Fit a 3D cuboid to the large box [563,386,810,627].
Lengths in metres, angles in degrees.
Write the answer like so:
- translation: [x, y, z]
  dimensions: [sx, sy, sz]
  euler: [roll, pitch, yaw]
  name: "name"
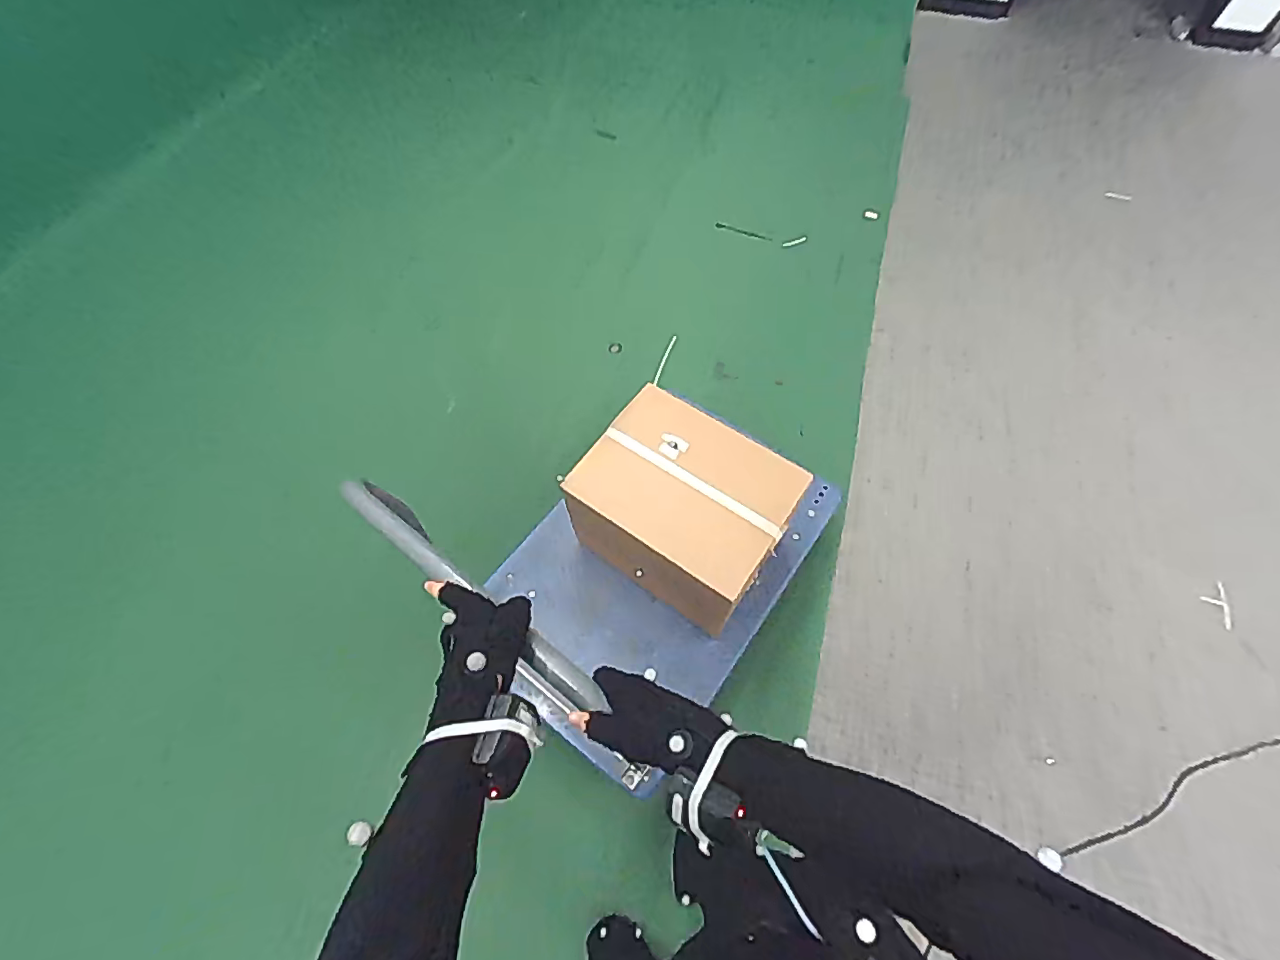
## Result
- translation: [0.100, 0.067, 1.209]
  dimensions: [0.408, 0.320, 0.320]
  euler: [32, 67, 17]
  name: "large box"
